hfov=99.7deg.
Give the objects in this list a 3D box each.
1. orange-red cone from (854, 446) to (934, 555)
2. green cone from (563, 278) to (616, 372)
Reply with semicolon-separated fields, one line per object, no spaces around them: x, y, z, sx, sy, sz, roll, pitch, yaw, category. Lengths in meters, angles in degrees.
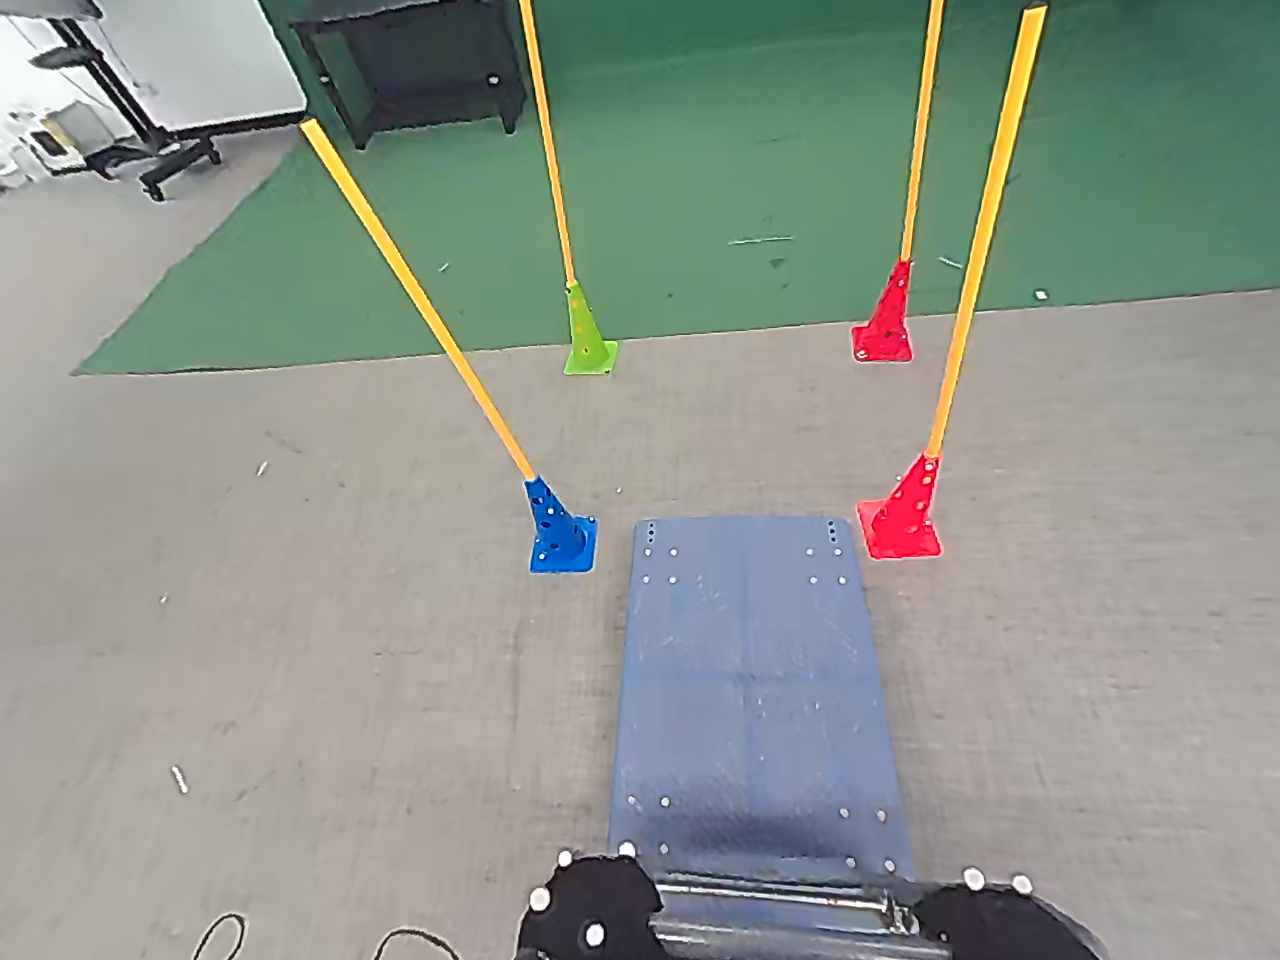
0.727;0.034;1.476;0.199;0.360;0.198;-4;53;9;orange-red cone
-0.231;-0.620;2.104;0.202;0.368;0.200;1;54;11;green cone
